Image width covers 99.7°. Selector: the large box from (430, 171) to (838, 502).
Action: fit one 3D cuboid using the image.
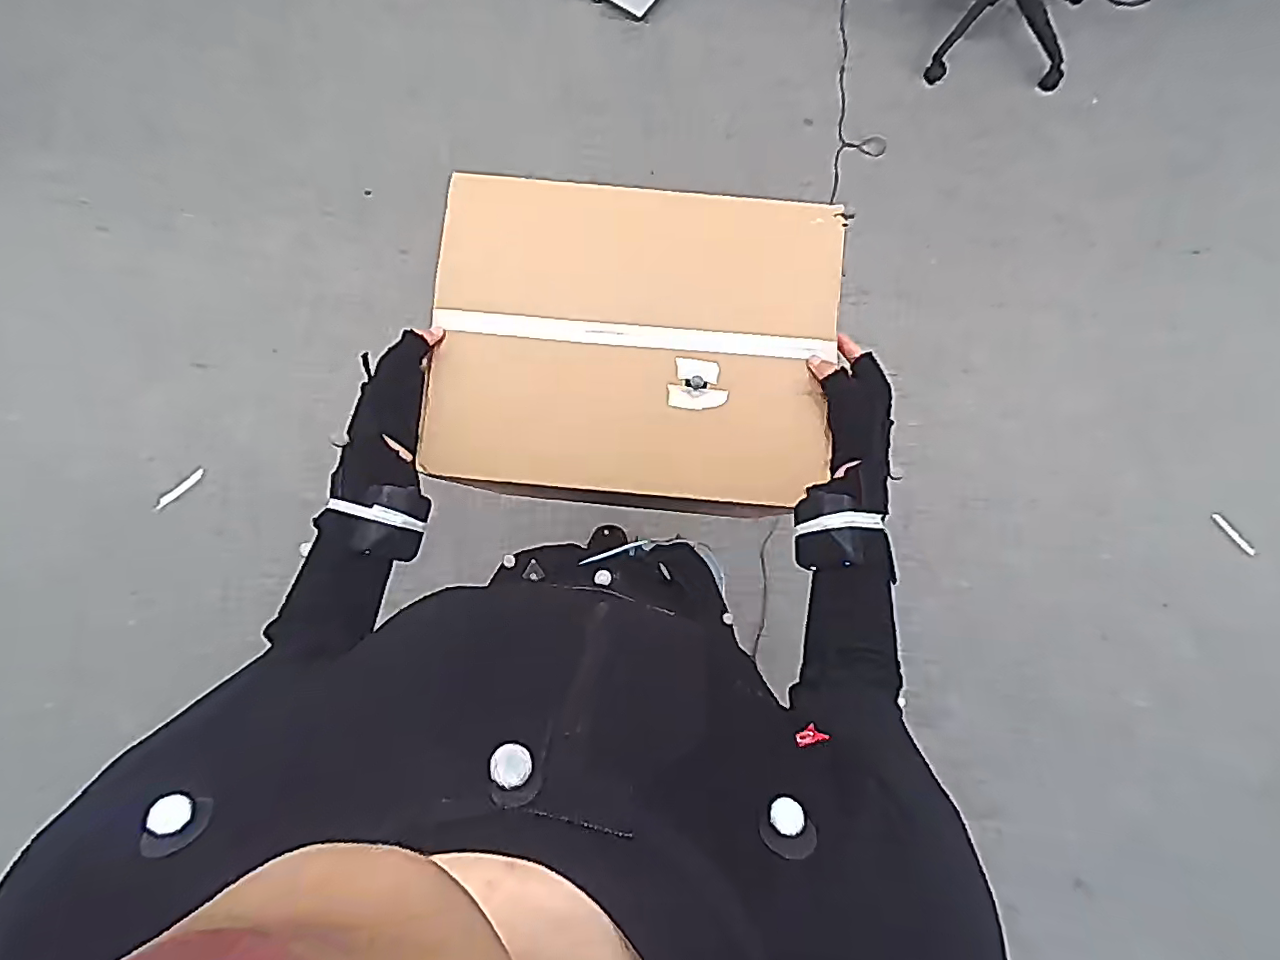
[{"bbox_3d":[-0.006,-0.145,0.702,0.408,0.320,0.320,6,86,0],"label":"large box"}]
